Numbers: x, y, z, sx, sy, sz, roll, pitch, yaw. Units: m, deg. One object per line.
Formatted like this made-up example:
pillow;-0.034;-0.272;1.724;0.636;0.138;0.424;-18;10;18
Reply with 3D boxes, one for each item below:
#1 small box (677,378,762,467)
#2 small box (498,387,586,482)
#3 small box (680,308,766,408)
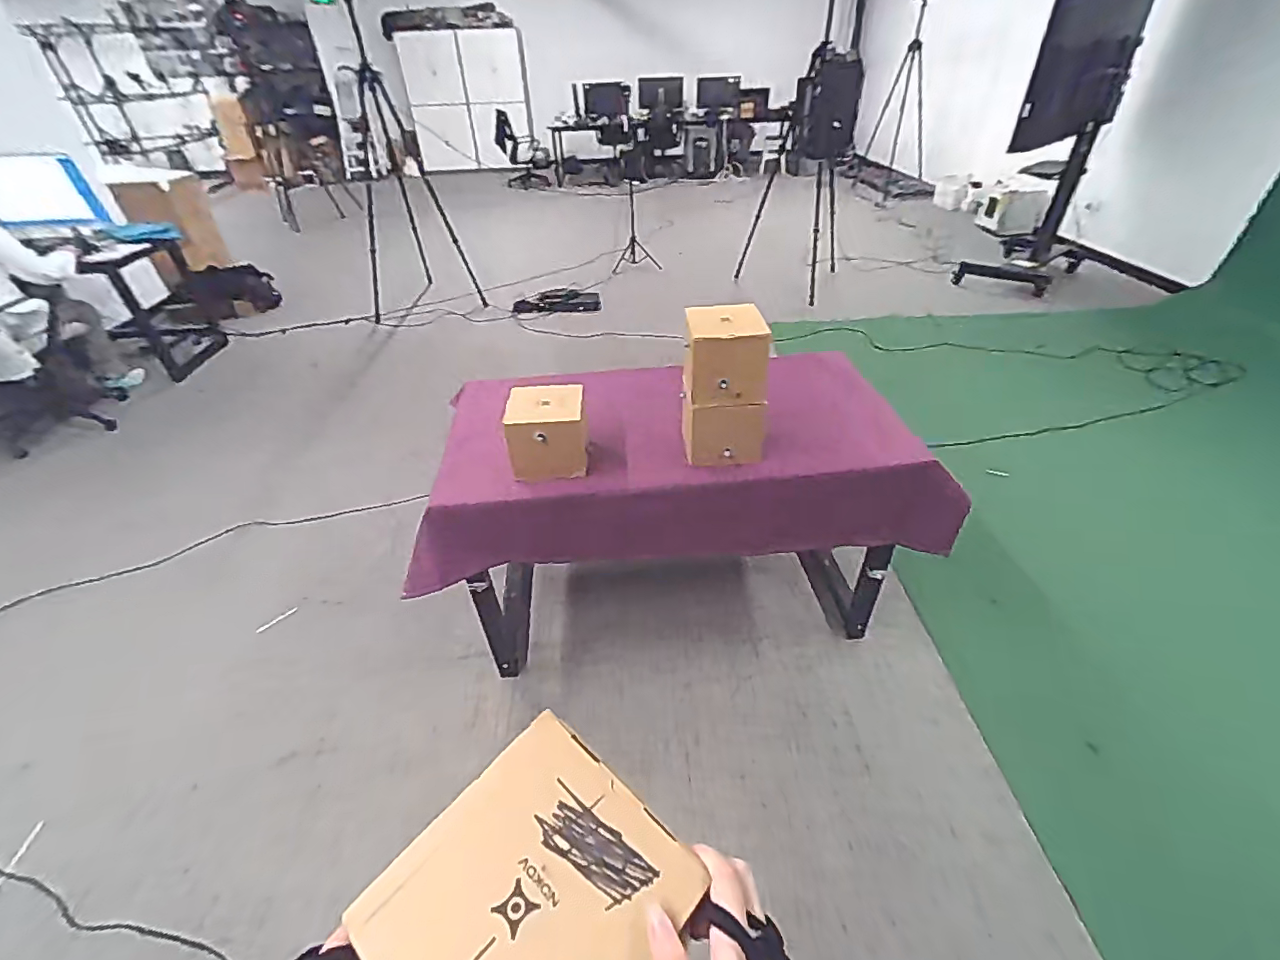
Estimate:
small box;0.189;-0.145;1.333;0.179;0.176;0.168;-3;38;-2
small box;-0.230;-0.108;1.308;0.179;0.176;0.168;-3;39;-1
small box;0.181;-0.280;1.241;0.168;0.176;0.179;-4;39;-1
